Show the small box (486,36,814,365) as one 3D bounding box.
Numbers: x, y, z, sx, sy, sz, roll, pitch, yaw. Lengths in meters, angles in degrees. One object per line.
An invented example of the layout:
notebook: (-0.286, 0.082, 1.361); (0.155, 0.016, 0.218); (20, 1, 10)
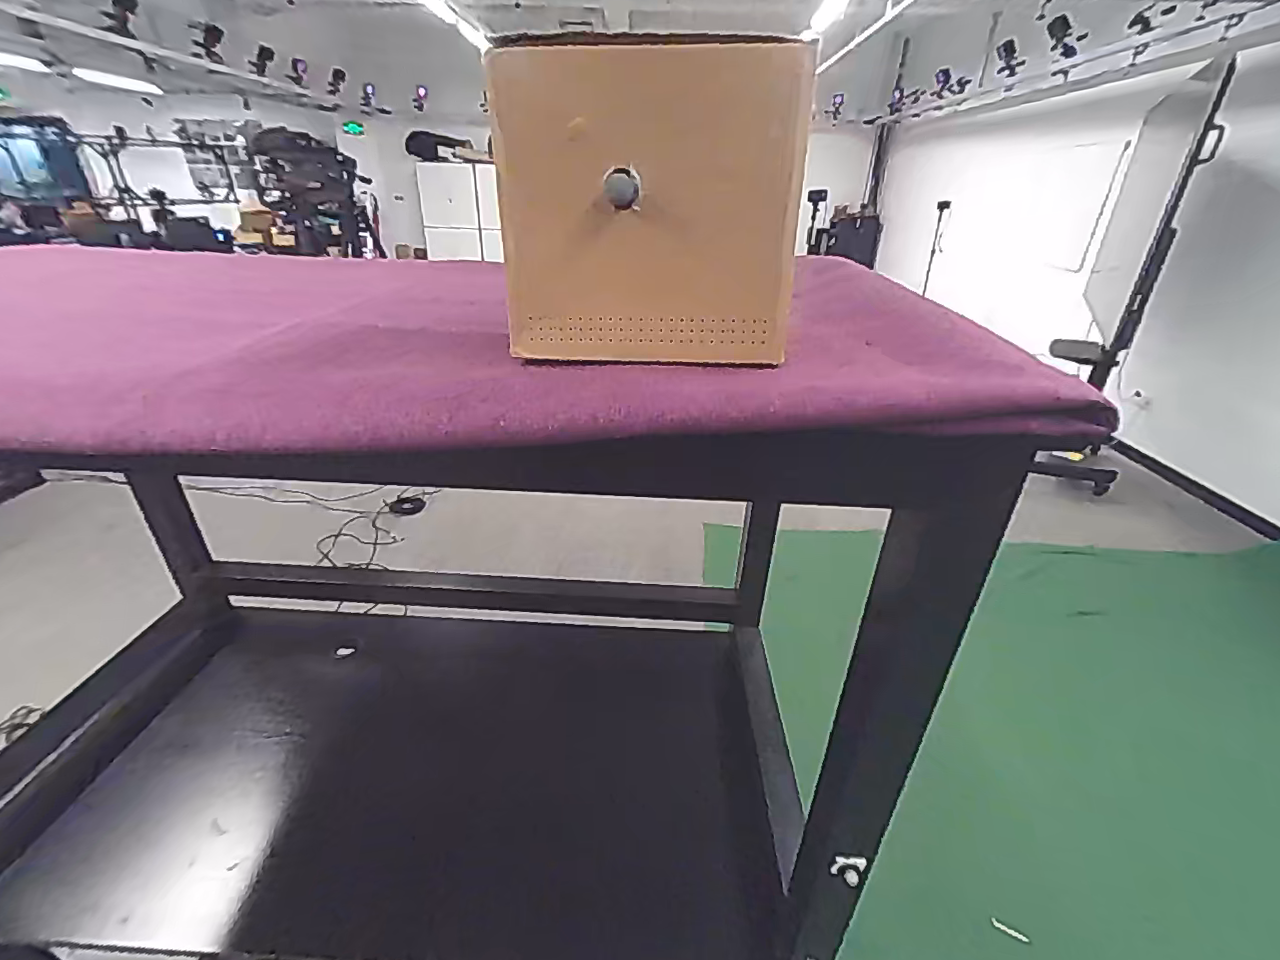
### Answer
small box: (0.010, -0.181, 0.384); (0.179, 0.176, 0.168); (1, 26, 3)
